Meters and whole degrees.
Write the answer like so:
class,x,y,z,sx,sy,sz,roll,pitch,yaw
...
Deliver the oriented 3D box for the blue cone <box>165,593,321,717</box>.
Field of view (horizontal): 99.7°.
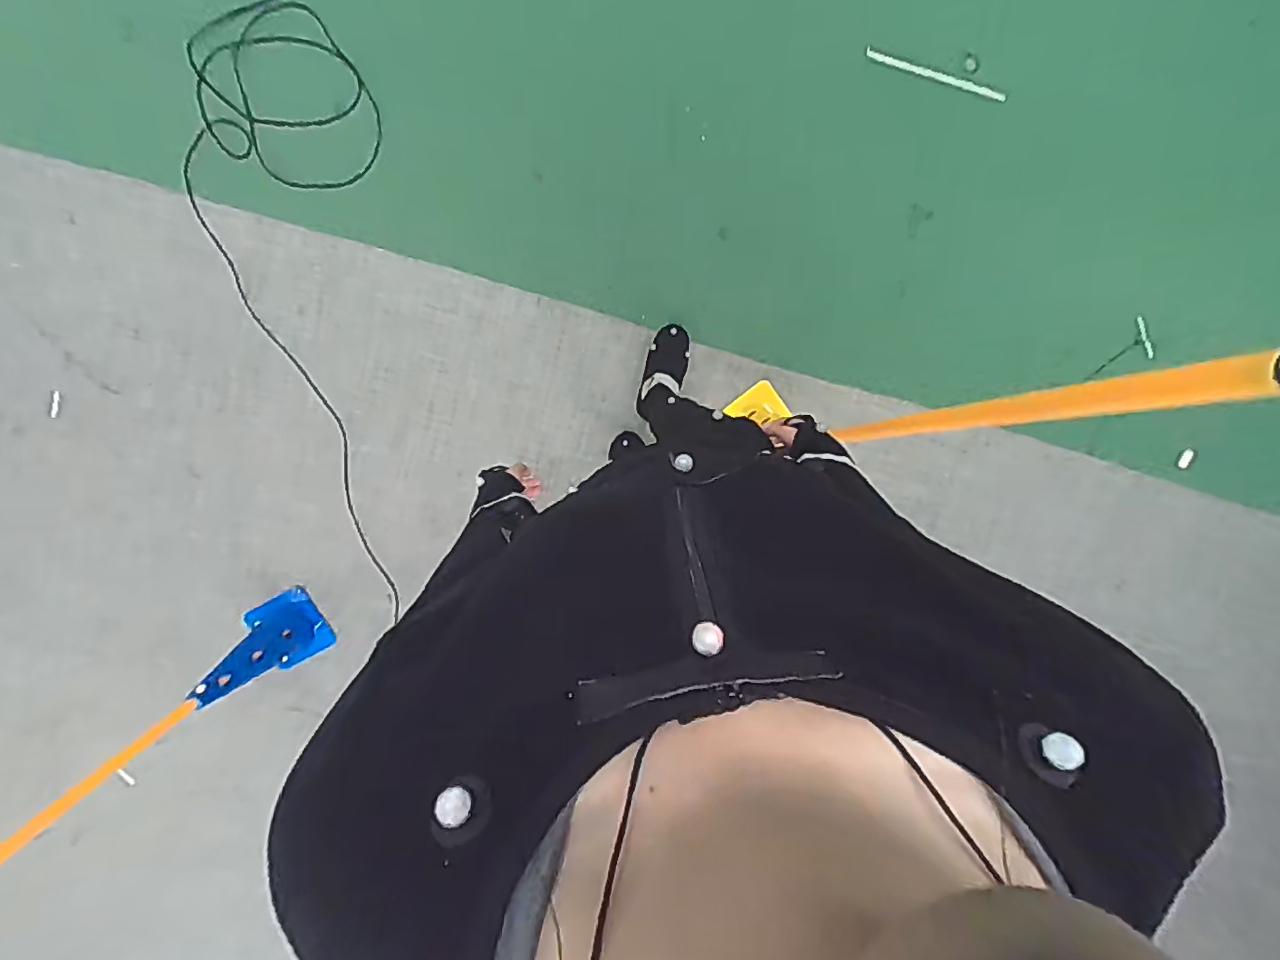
class,x,y,z,sx,sy,sz,roll,pitch,yaw
blue cone,-1.003,0.463,1.346,0.193,0.380,0.192,-29,101,5
